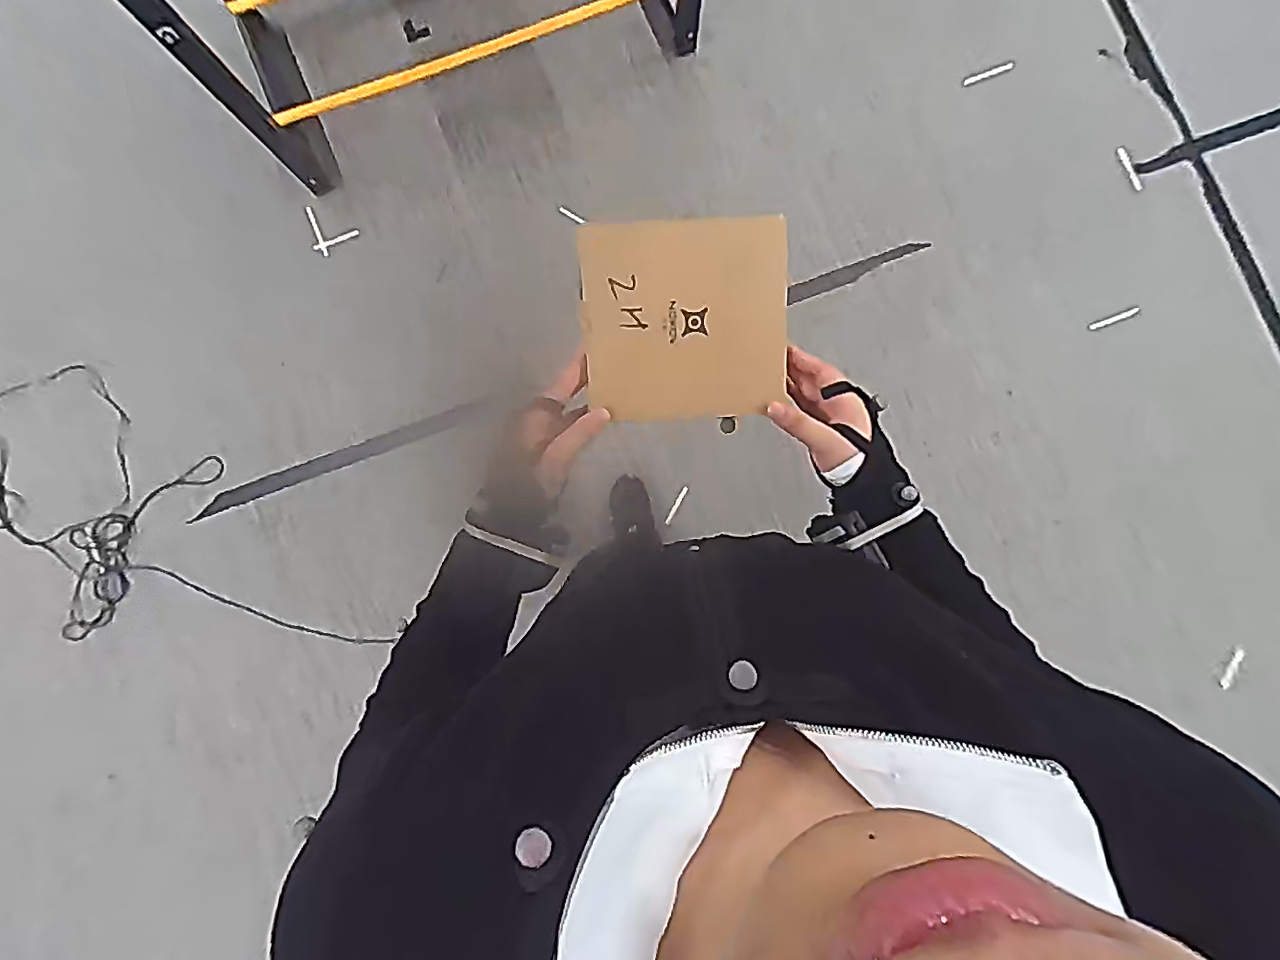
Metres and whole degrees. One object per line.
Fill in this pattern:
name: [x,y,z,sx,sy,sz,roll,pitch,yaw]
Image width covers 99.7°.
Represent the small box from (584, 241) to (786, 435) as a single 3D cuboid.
small box: [0.039,-0.138,0.554,0.179,0.176,0.168,-2,100,1]
